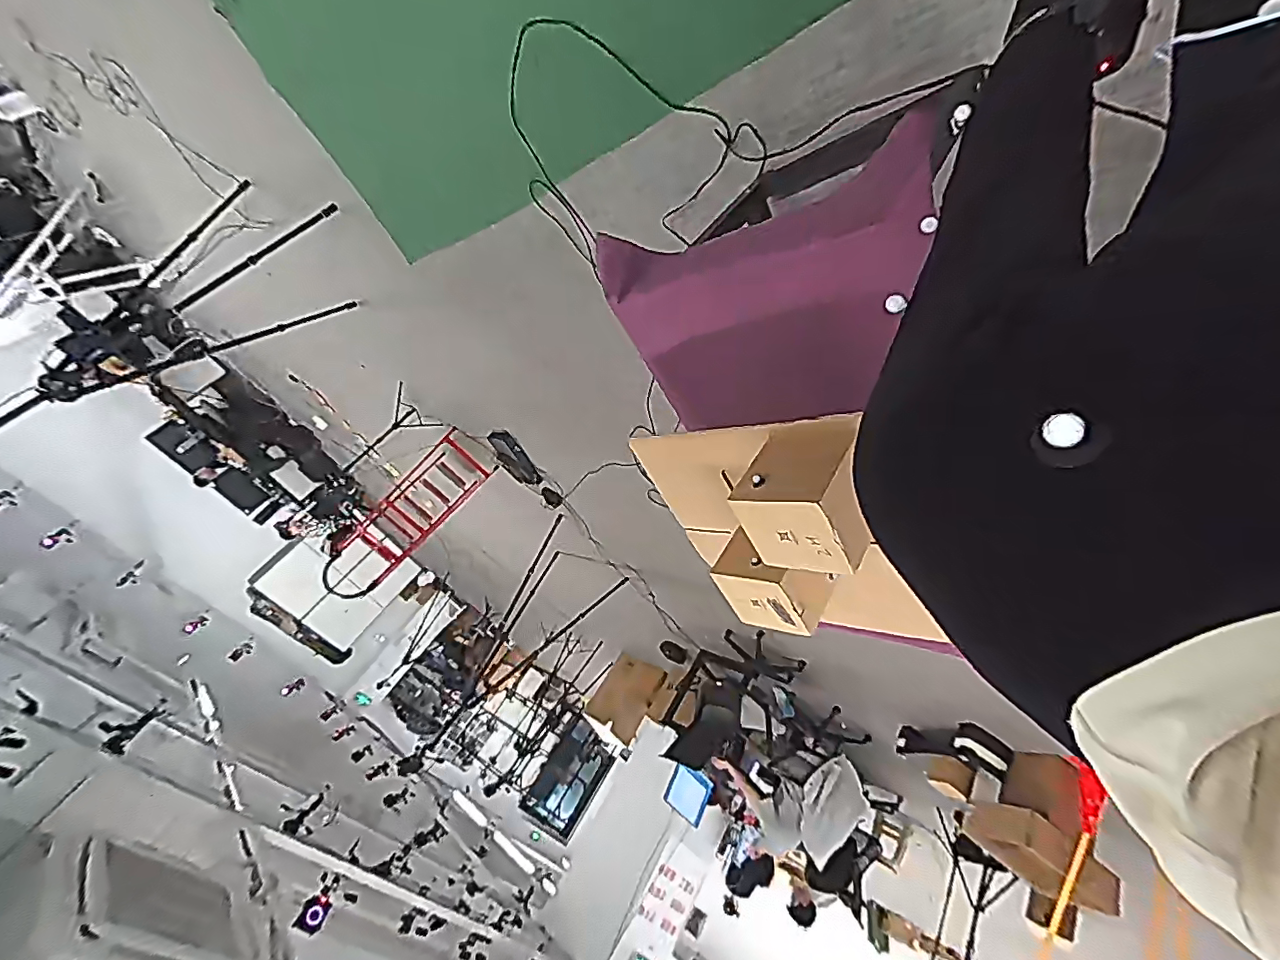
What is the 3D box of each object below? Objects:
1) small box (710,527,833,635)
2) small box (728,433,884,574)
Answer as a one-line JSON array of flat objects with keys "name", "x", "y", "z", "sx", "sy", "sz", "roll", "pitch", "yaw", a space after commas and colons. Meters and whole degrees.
[{"name": "small box", "x": 0.286, "y": 0.196, "z": 1.138, "sx": 0.179, "sy": 0.176, "sz": 0.168, "roll": -1, "pitch": 131, "yaw": 49}, {"name": "small box", "x": 0.288, "y": 0.036, "z": 0.926, "sx": 0.179, "sy": 0.176, "sz": 0.168, "roll": -1, "pitch": 132, "yaw": 47}]
